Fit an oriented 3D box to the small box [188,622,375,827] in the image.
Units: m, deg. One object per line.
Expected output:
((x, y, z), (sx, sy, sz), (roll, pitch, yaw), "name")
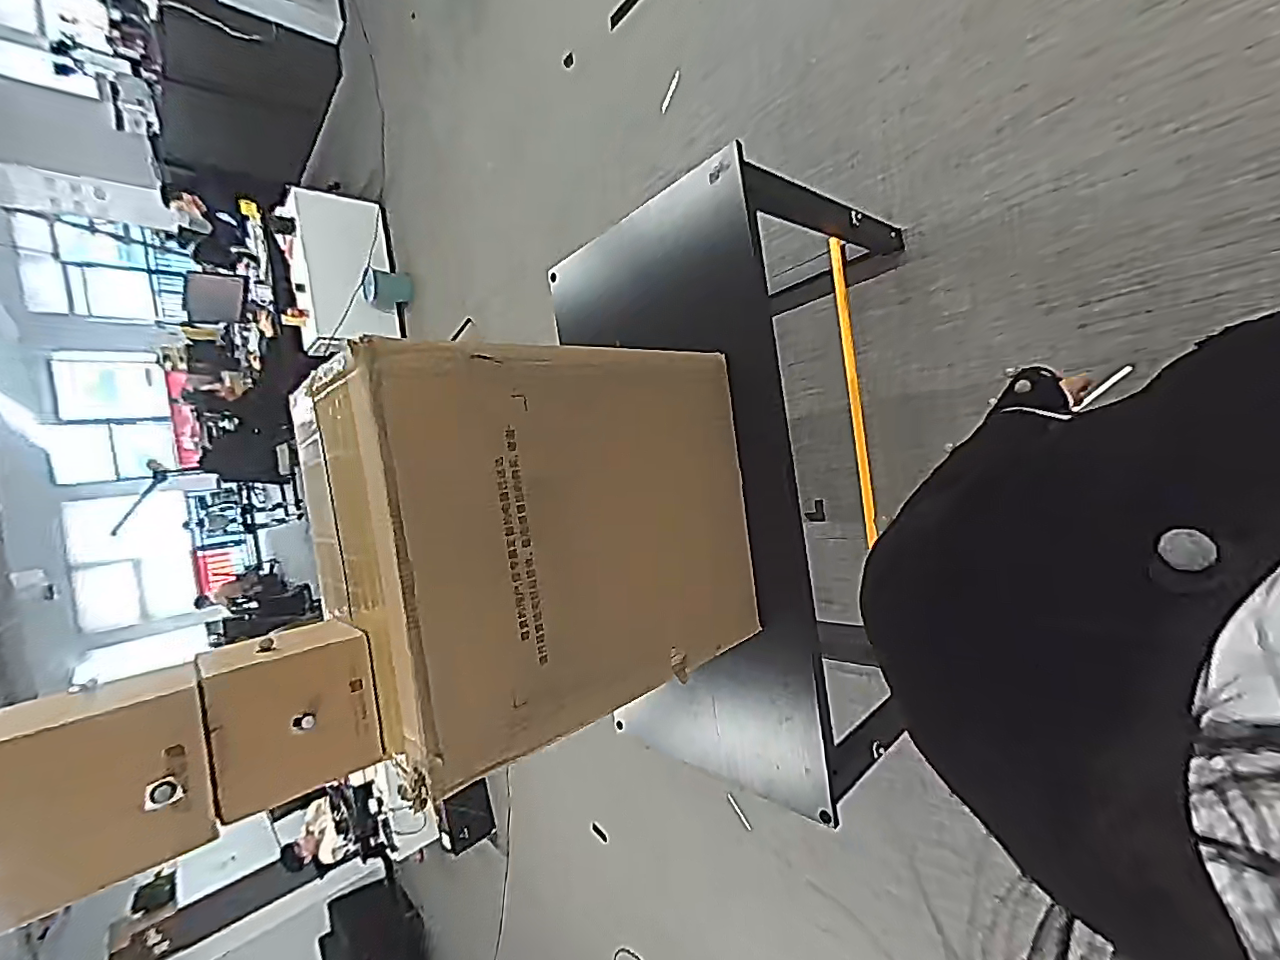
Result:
((-0.451, 0.289, 0.689), (0.179, 0.176, 0.168), (-8, 90, 48), "small box")

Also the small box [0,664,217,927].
((-0.564, 0.308, 0.571), (0.179, 0.176, 0.168), (-10, 90, 49), "small box")
